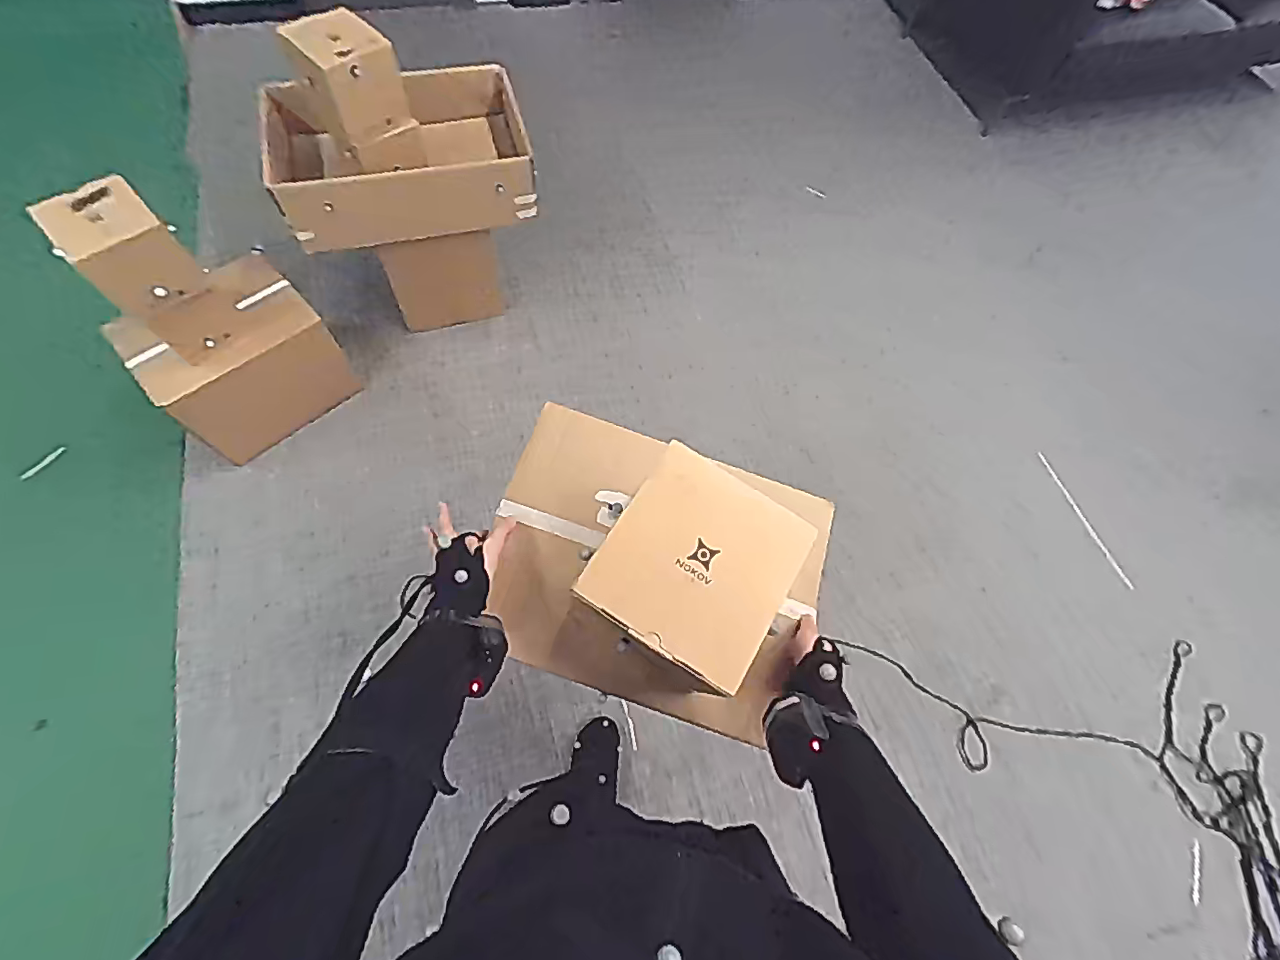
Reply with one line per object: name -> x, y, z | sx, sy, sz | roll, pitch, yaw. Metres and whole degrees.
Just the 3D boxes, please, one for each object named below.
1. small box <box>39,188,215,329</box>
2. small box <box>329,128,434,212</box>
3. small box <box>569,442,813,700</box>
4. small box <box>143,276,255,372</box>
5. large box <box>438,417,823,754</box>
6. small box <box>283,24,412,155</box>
small box -> -1.035, -0.447, 1.106 | 0.168, 0.176, 0.179 | -41, 75, -20
small box -> -0.658, -0.819, 1.388 | 0.168, 0.176, 0.179 | -36, 73, -21
small box -> 0.040, 0.098, 0.553 | 0.168, 0.176, 0.179 | 32, 71, 5
small box -> -1.058, -0.385, 1.257 | 0.179, 0.176, 0.168 | 39, 68, 13
large box -> -0.005, 0.161, 0.787 | 0.408, 0.320, 0.320 | 18, 67, 2
small box -> -0.659, -0.889, 1.238 | 0.179, 0.176, 0.168 | 42, 68, 14
